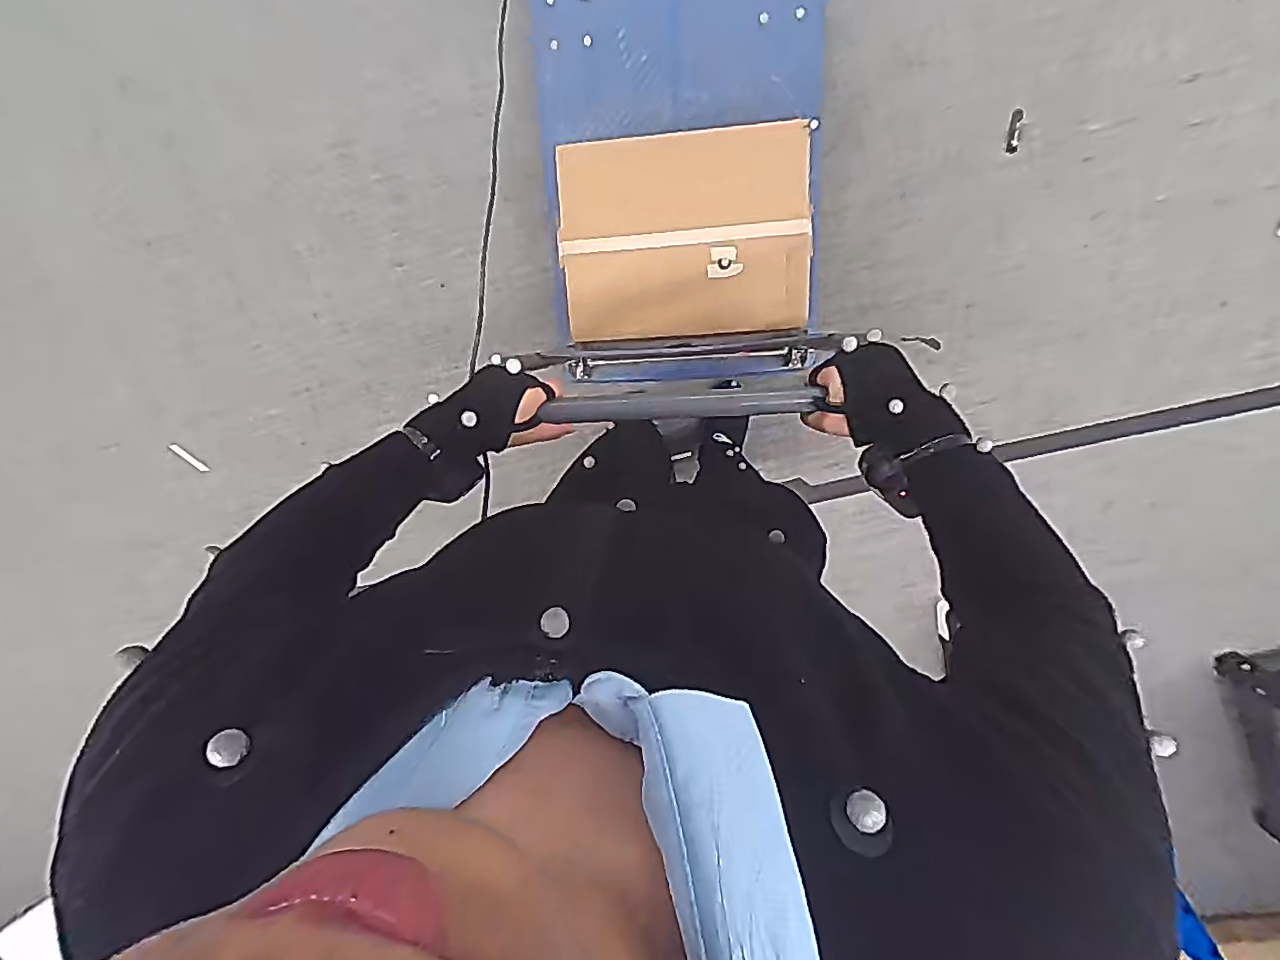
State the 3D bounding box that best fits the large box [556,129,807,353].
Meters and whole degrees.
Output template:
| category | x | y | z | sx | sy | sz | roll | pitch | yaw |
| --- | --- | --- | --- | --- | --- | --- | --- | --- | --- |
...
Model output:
| category | x | y | z | sx | sy | sz | roll | pitch | yaw |
| --- | --- | --- | --- | --- | --- | --- | --- | --- | --- |
| large box | 0.082 | -0.417 | 1.034 | 0.408 | 0.320 | 0.320 | -2 | 103 | 6 |
